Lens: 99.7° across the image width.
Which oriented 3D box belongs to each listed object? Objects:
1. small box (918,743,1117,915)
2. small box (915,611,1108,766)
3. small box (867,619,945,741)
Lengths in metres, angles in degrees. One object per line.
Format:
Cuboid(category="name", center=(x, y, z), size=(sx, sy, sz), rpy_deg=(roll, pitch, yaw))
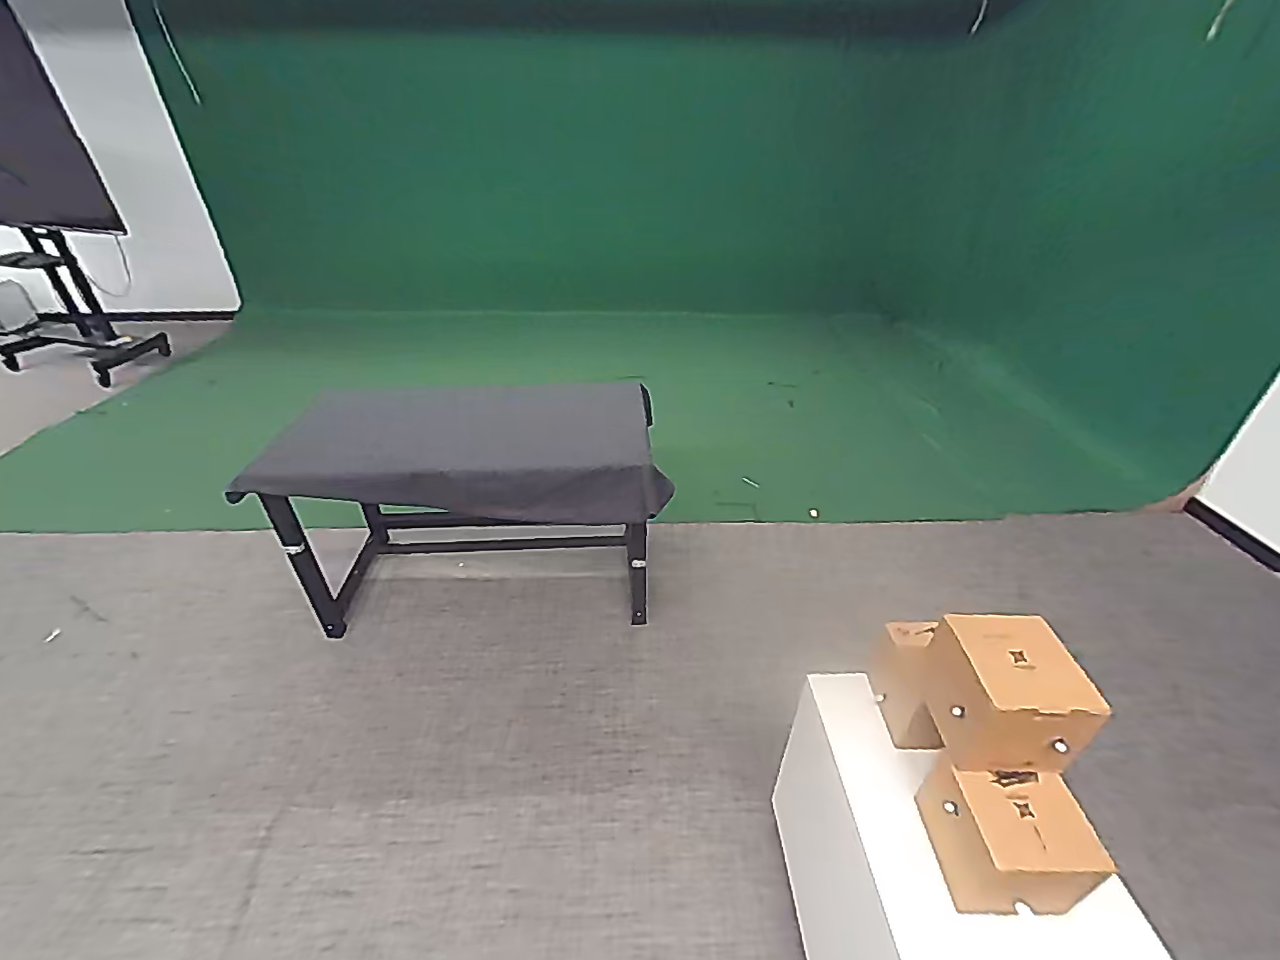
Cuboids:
Cuboid(category="small box", center=(0.567, 0.542, 0.847), size=(0.168, 0.176, 0.179), rpy_deg=(0, 35, 1))
Cuboid(category="small box", center=(0.574, 0.333, 0.865), size=(0.168, 0.176, 0.179), rpy_deg=(1, 34, 0))
Cuboid(category="small box", center=(0.571, 0.395, 1.061), size=(0.168, 0.176, 0.179), rpy_deg=(0, 37, -1))
